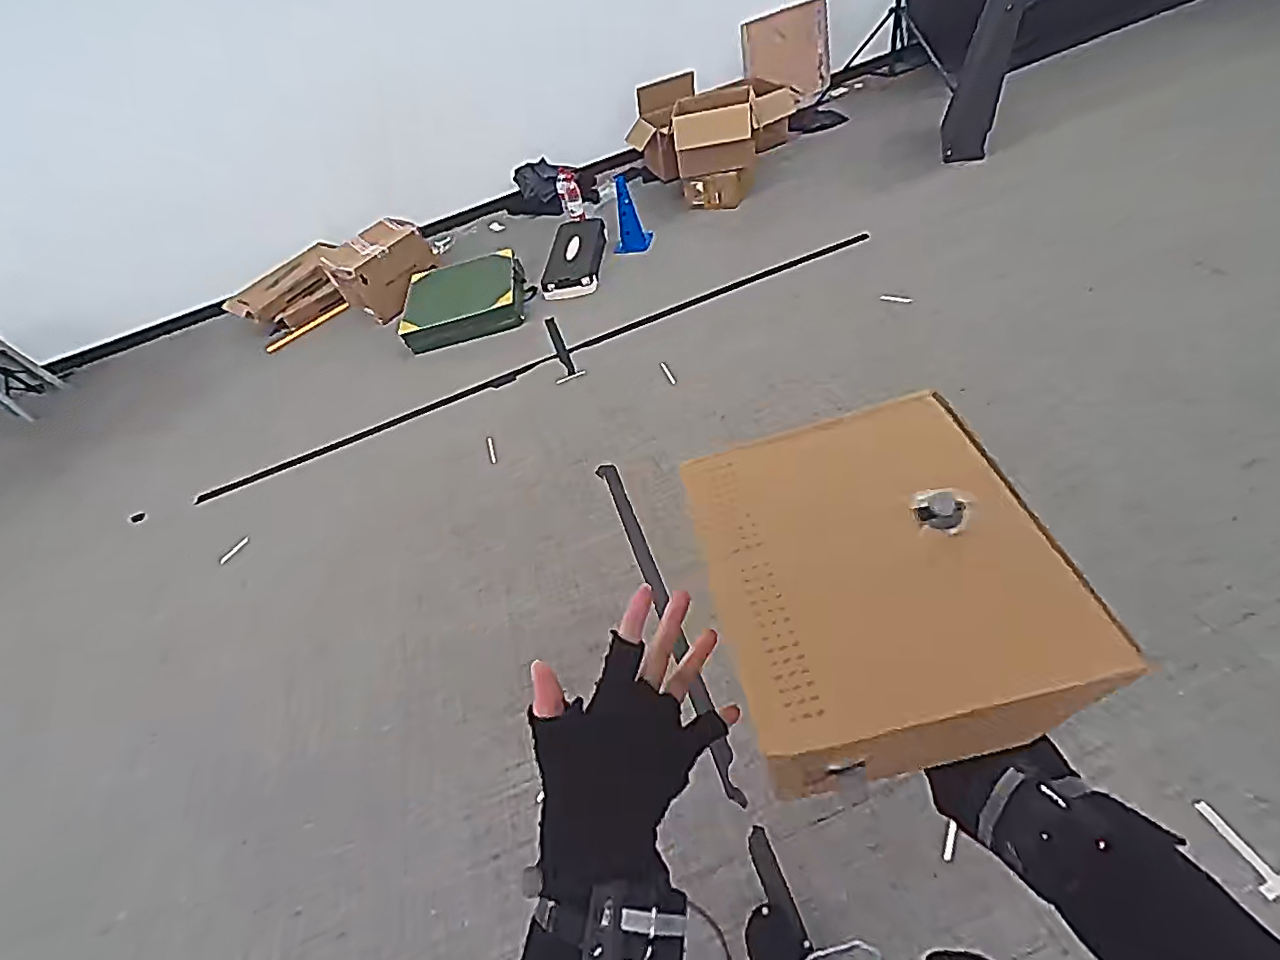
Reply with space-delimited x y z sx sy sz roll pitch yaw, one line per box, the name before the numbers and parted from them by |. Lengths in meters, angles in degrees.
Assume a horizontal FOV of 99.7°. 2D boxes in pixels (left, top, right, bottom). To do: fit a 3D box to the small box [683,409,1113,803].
small box | 0.133 0.087 0.357 0.176 0.168 0.179 -16 51 5
